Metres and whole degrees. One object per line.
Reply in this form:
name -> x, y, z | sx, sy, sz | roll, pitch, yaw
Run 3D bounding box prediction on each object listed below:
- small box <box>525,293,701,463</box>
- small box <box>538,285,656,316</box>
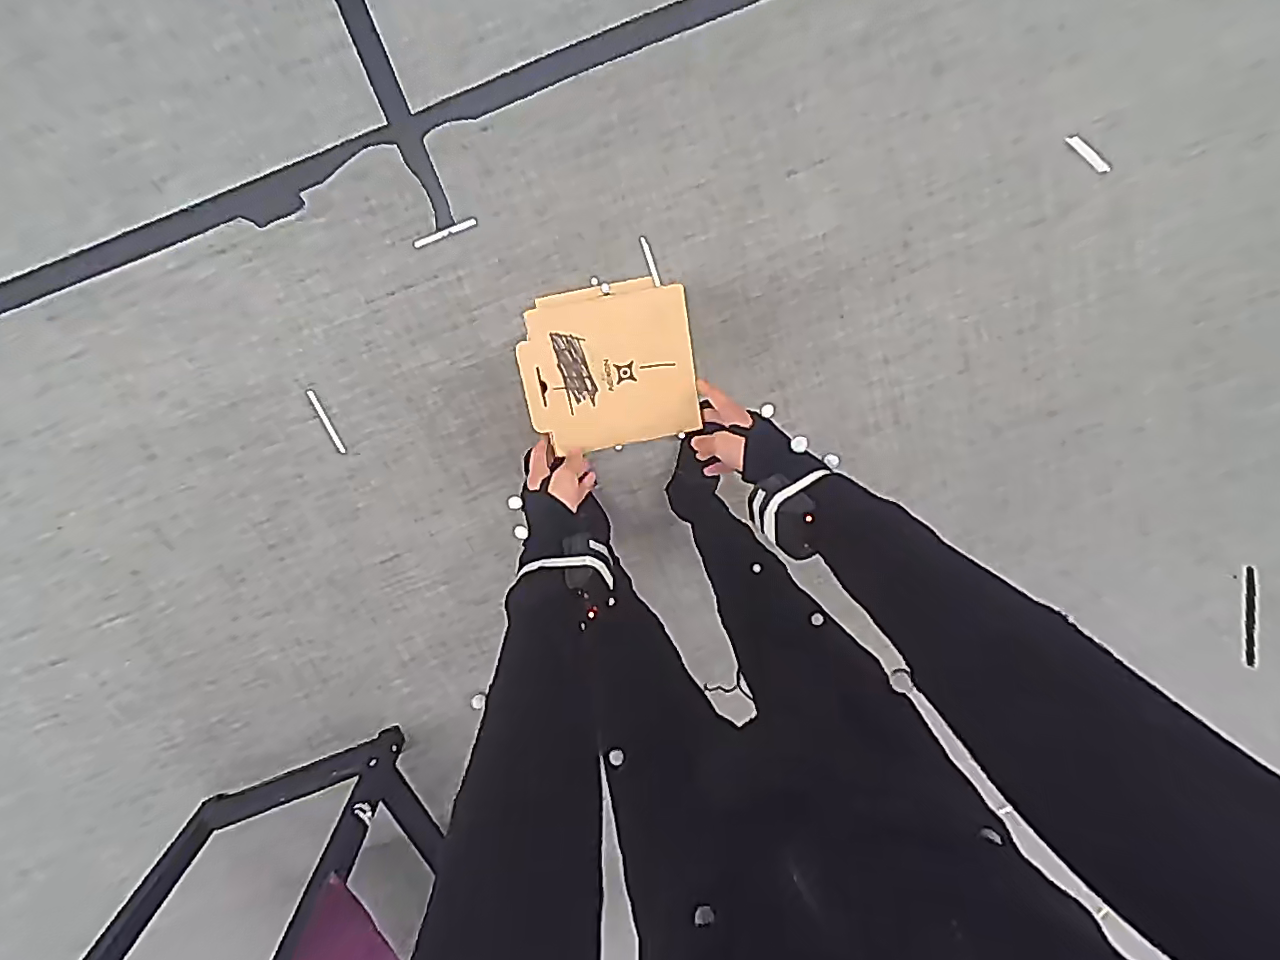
small box -> -0.034, -0.132, 0.678 | 0.179, 0.176, 0.168 | -11, 108, -4
small box -> -0.055, -0.190, 0.831 | 0.168, 0.176, 0.179 | -12, 108, -3
